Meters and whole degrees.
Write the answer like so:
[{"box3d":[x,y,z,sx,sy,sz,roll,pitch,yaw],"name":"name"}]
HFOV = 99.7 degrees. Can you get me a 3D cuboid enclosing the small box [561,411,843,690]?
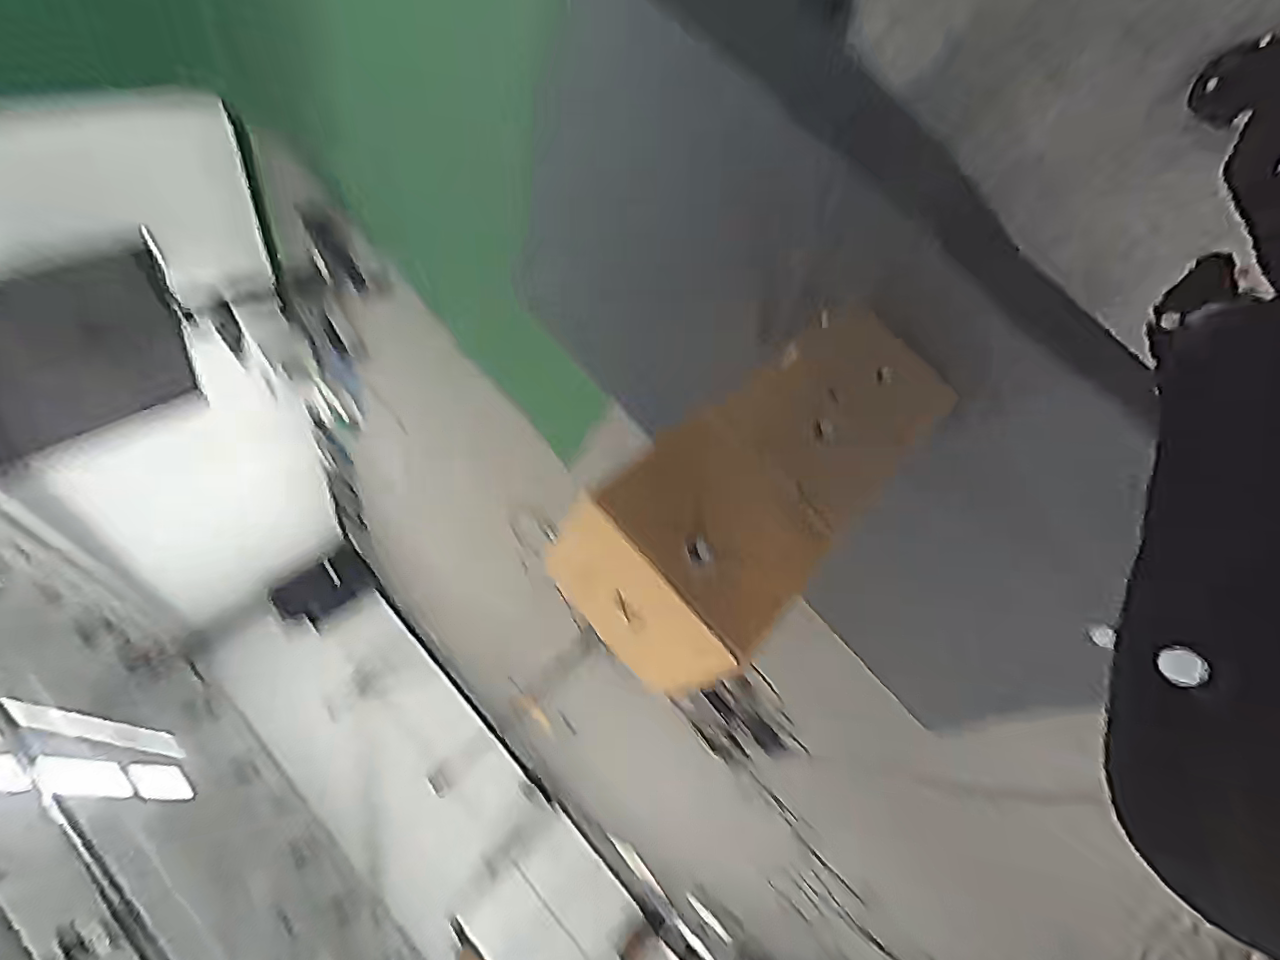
[{"box3d":[0.057,0.065,0.520,0.179,0.176,0.168,47,144,9],"name":"small box"}]
